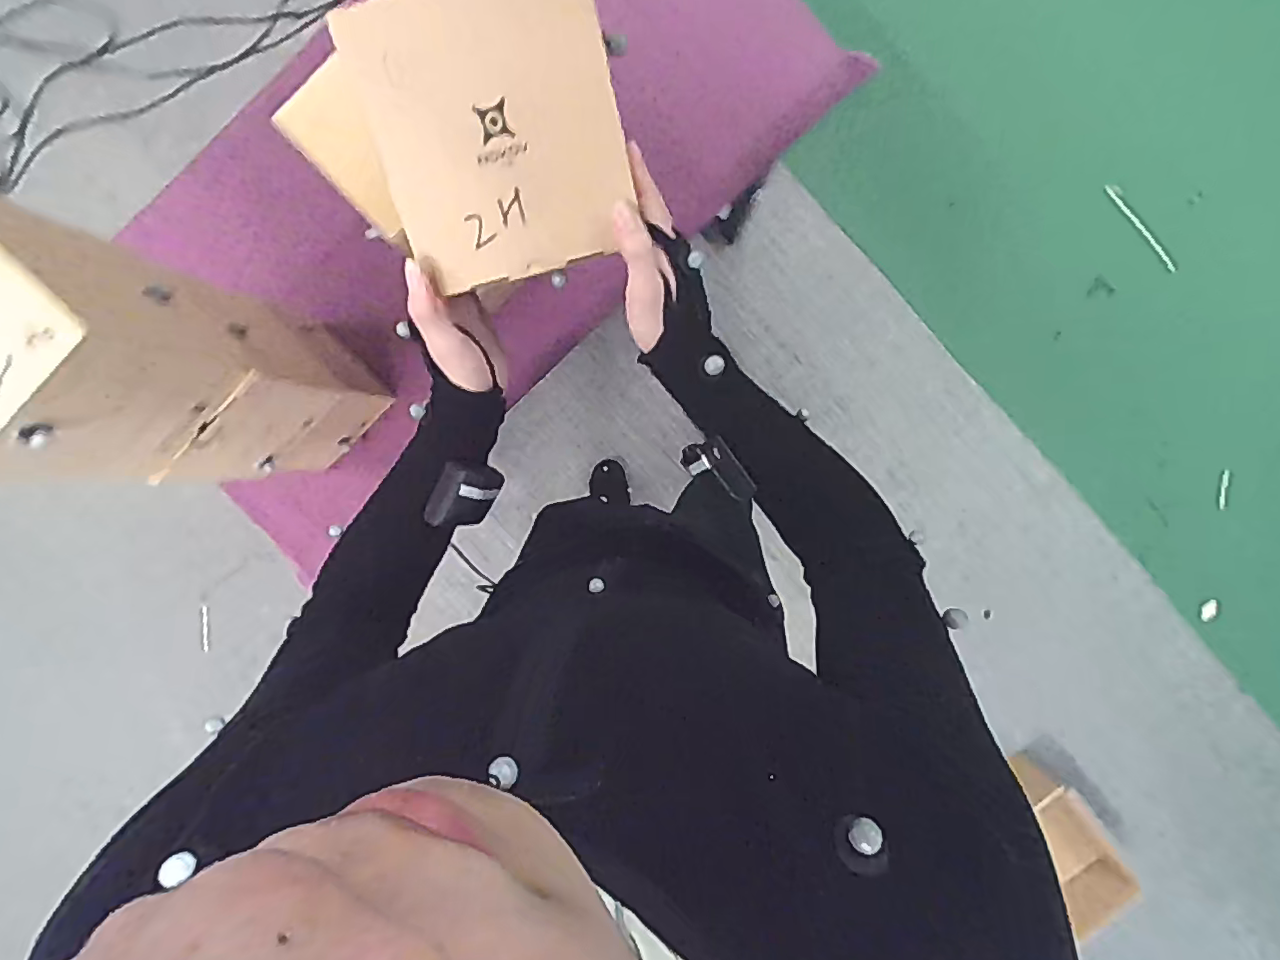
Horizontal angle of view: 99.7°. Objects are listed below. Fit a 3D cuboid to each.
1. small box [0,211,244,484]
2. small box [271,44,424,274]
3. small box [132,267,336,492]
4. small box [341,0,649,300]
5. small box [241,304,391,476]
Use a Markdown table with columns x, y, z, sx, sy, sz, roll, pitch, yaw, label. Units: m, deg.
| x | y | z | sx | sy | sz | roll | pitch | yaw | label |
| --- | --- | --- | --- | --- | --- | --- | --- | --- | --- |
| -0.517 | -0.106 | 0.475 | 0.179 | 0.176 | 0.168 | 44 | 93 | -1 | small box |
| -0.259 | -0.359 | 0.627 | 0.179 | 0.176 | 0.168 | 45 | 92 | -2 | small box |
| -0.511 | -0.108 | 0.639 | 0.179 | 0.176 | 0.168 | 45 | 92 | 0 | small box |
| -0.091 | -0.256 | 0.436 | 0.168 | 0.176 | 0.179 | -12 | 113 | 6 | small box |
| -0.517 | -0.122 | 0.802 | 0.179 | 0.176 | 0.168 | 44 | 92 | -2 | small box |
